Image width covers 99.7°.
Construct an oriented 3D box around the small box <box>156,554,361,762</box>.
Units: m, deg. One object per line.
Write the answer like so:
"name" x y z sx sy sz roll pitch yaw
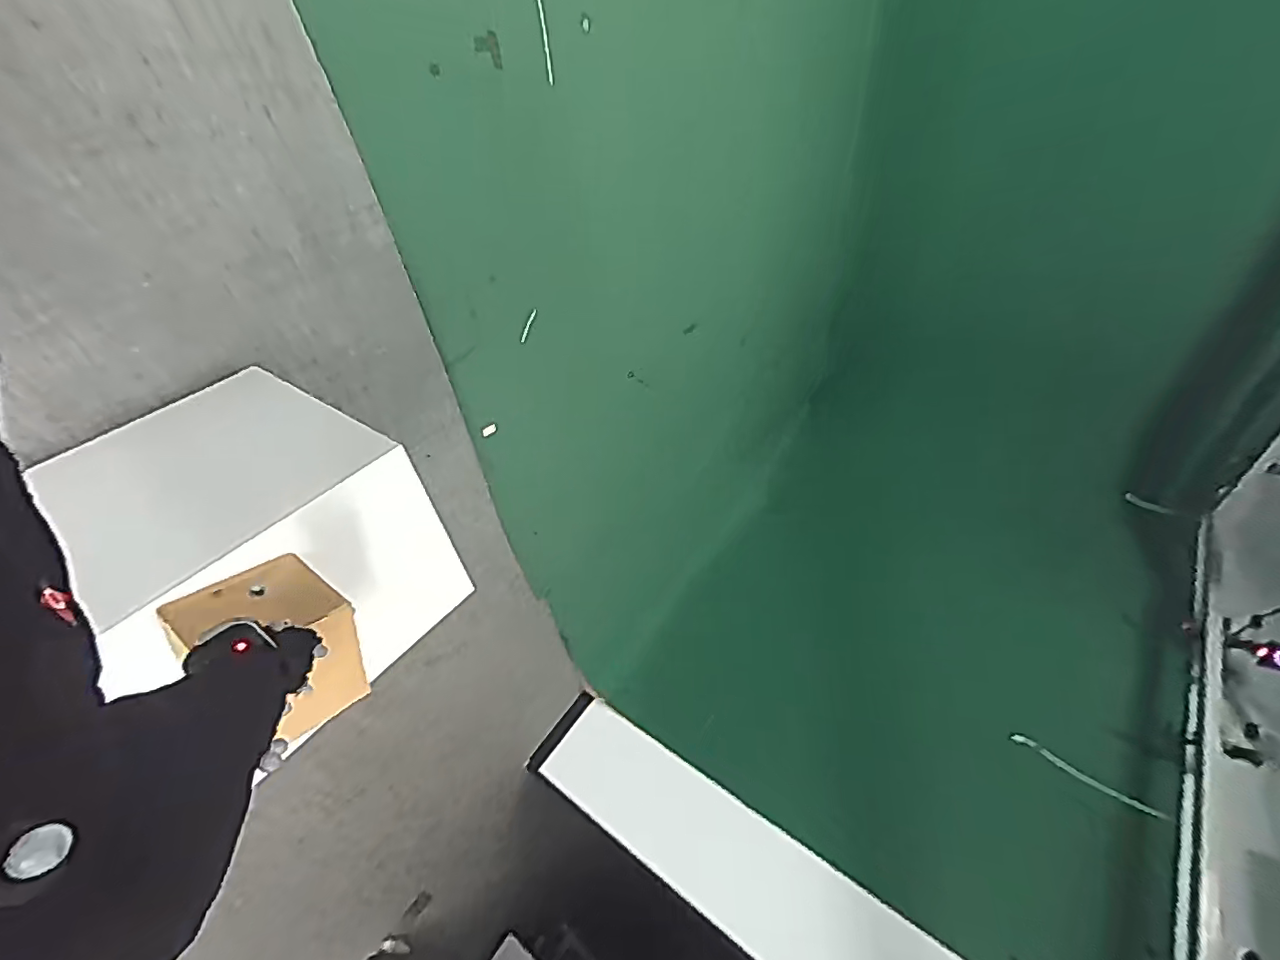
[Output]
"small box" -0.519 0.234 0.748 0.168 0.176 0.179 -30 135 -47
